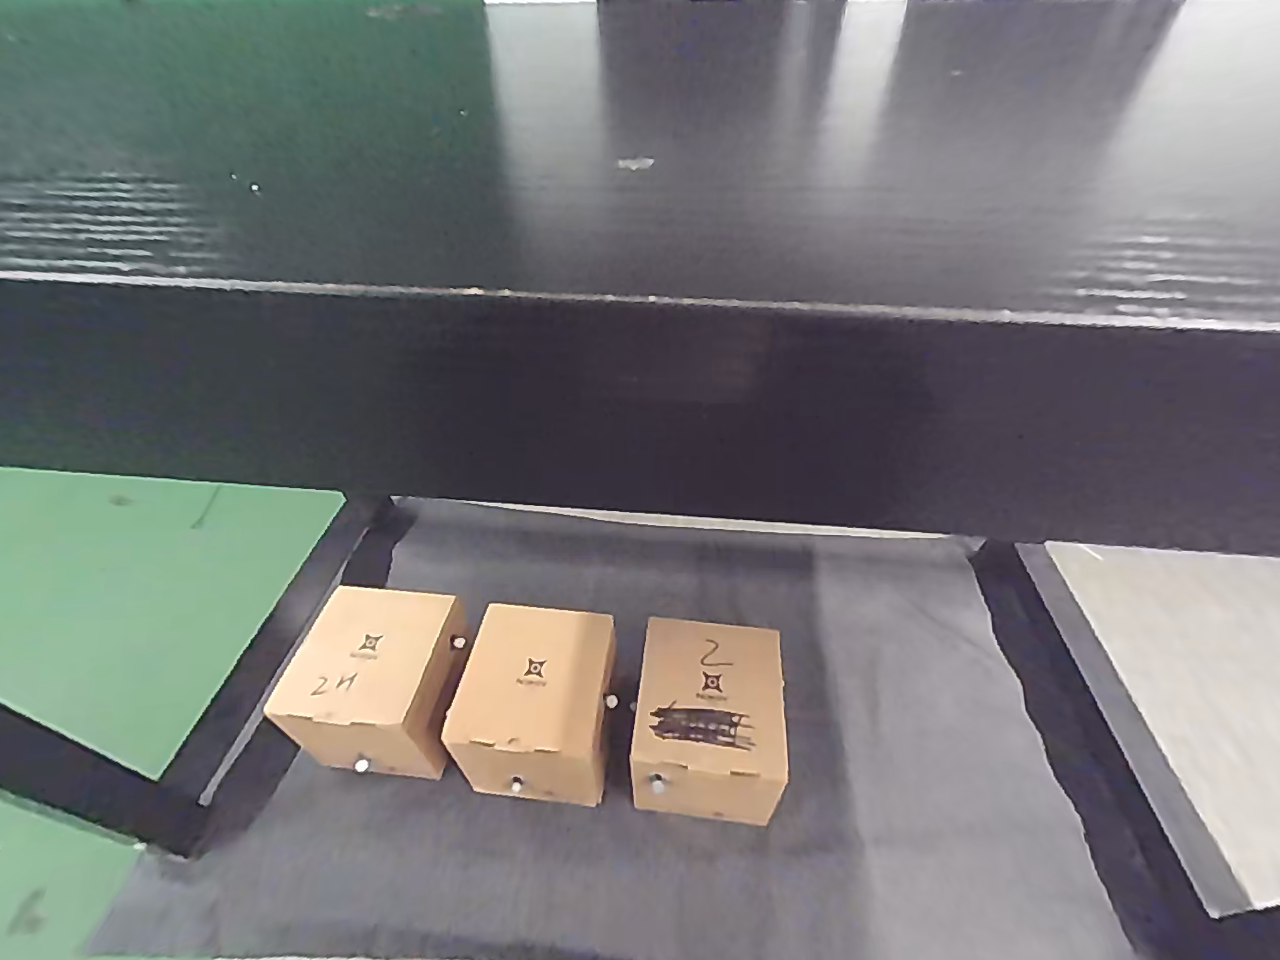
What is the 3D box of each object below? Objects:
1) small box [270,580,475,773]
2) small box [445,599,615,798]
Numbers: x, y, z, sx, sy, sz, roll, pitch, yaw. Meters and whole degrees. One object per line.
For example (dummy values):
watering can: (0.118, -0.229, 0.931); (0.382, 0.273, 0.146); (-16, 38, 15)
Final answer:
small box: (-0.331, 0.259, 0.719); (0.168, 0.176, 0.179); (4, 44, 5)
small box: (-0.125, 0.281, 0.699); (0.168, 0.176, 0.179); (5, 45, 4)
